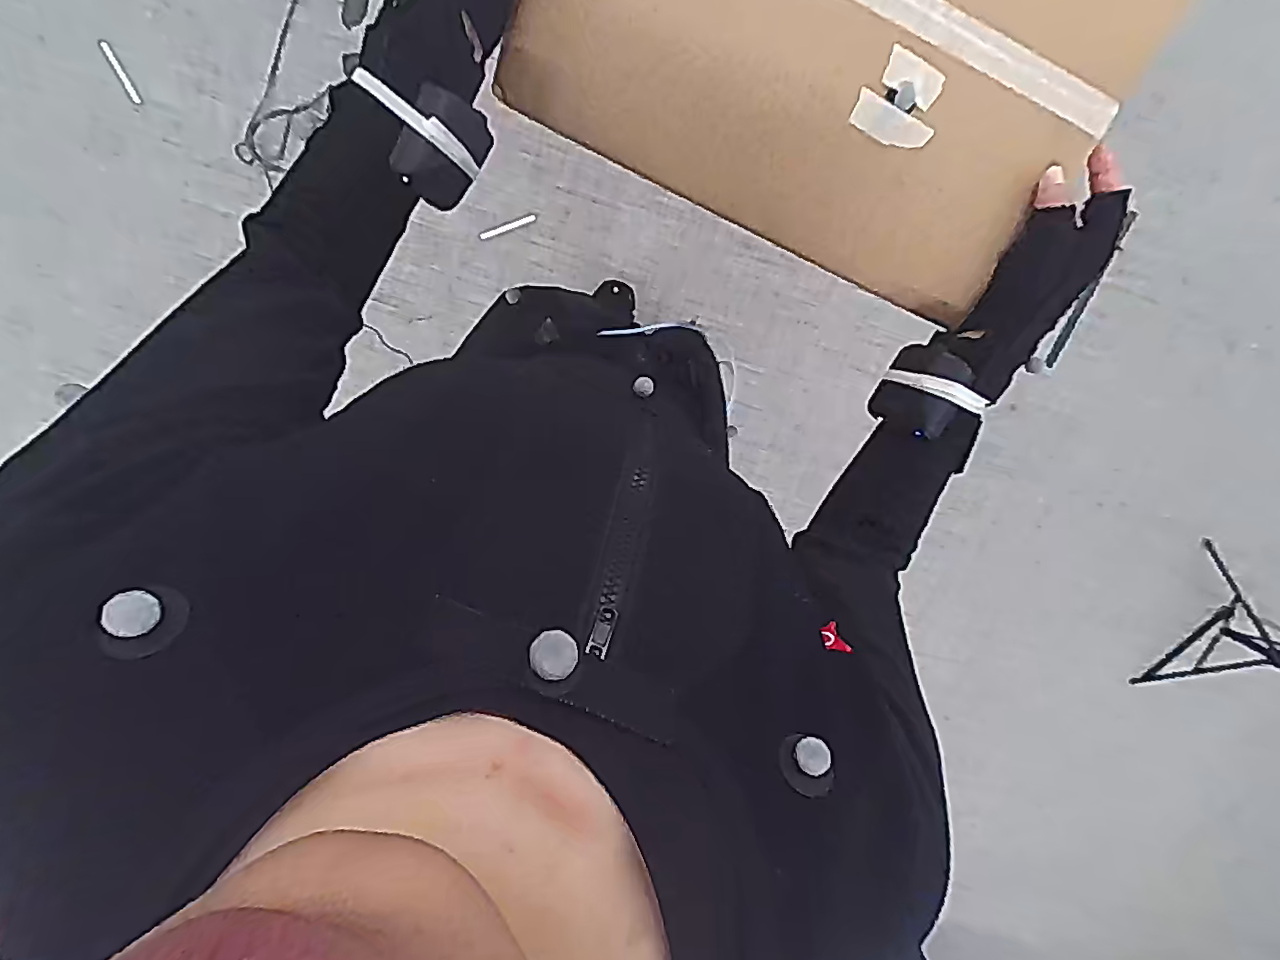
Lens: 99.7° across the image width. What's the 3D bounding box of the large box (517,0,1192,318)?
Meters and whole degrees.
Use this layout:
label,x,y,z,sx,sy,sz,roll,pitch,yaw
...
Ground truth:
label,x,y,z,sx,sy,sz,roll,pitch,yaw
large box,0.156,-0.401,0.490,0.408,0.320,0.320,24,119,-9
